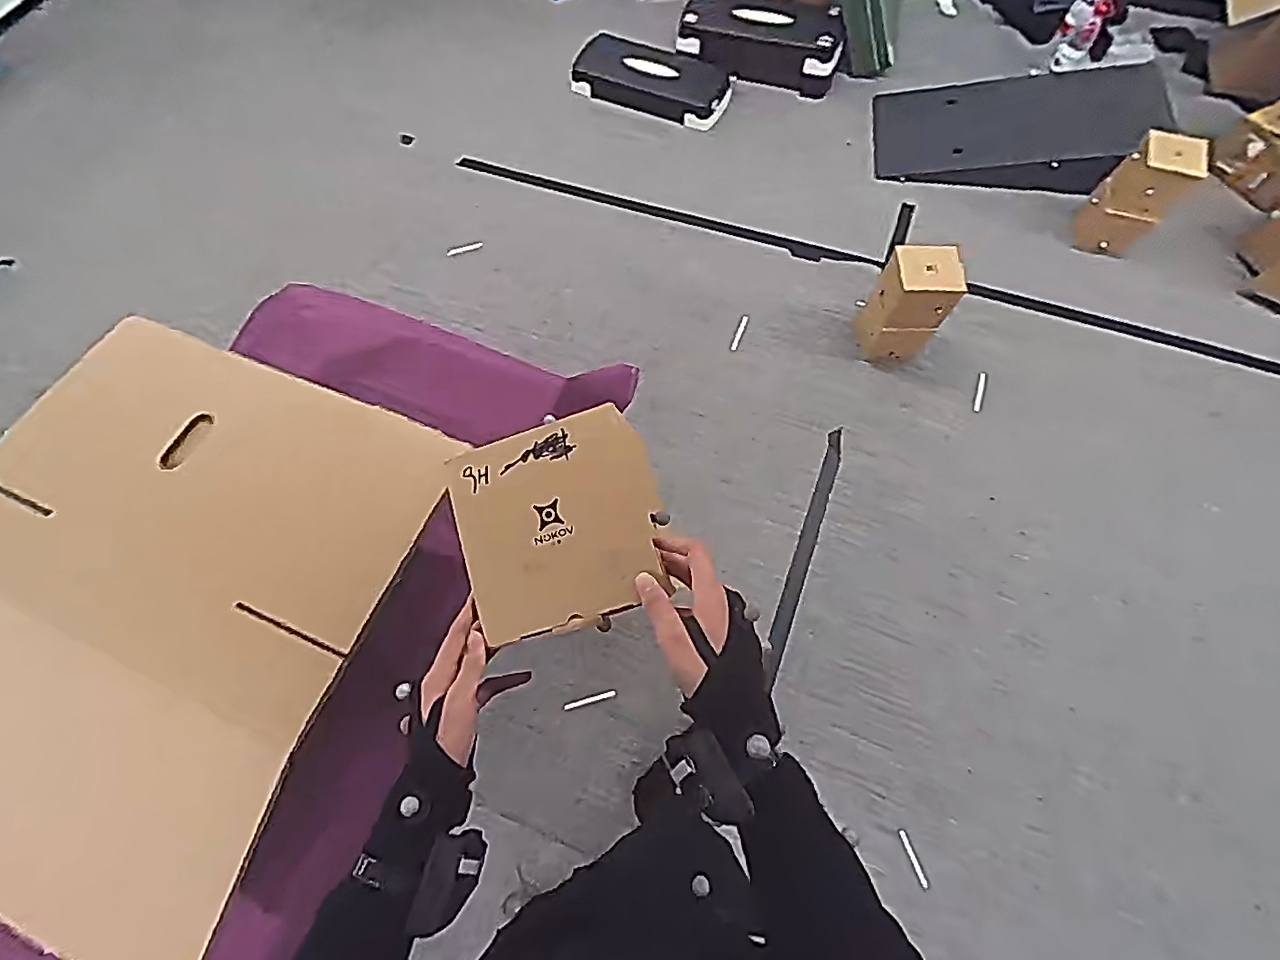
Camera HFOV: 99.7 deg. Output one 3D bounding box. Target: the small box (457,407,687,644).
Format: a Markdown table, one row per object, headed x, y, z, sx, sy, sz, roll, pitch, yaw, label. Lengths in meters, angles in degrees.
| x | y | z | sx | sy | sz | roll | pitch | yaw | label |
| --- | --- | --- | --- | --- | --- | --- | --- | --- | --- |
| -0.056 | 0.048 | 0.552 | 0.168 | 0.176 | 0.179 | -18 | 80 | 7 | small box |
